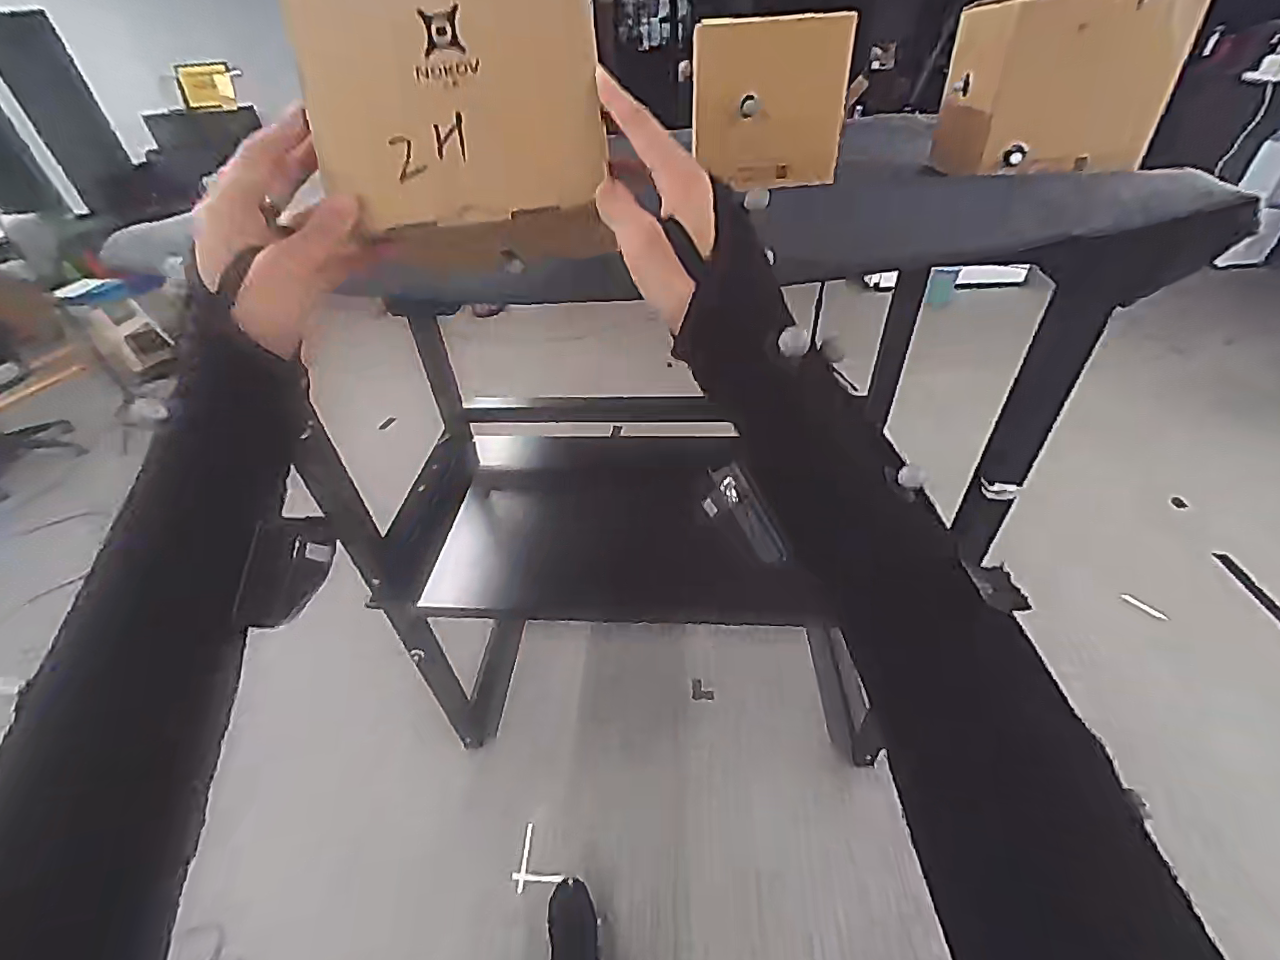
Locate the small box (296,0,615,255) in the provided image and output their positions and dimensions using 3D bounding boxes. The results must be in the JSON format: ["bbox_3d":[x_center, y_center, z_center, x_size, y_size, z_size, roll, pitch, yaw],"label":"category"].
[{"bbox_3d":[-0.109,-0.273,0.381,0.168,0.179,0.176,-6,13,1],"label":"small box"}]

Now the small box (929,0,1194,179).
[{"bbox_3d":[0.462,-0.451,0.624,0.168,0.176,0.179,1,37,7],"label":"small box"}]

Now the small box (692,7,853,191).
[{"bbox_3d":[0.150,-0.466,0.673,0.168,0.176,0.179,0,38,5],"label":"small box"}]
